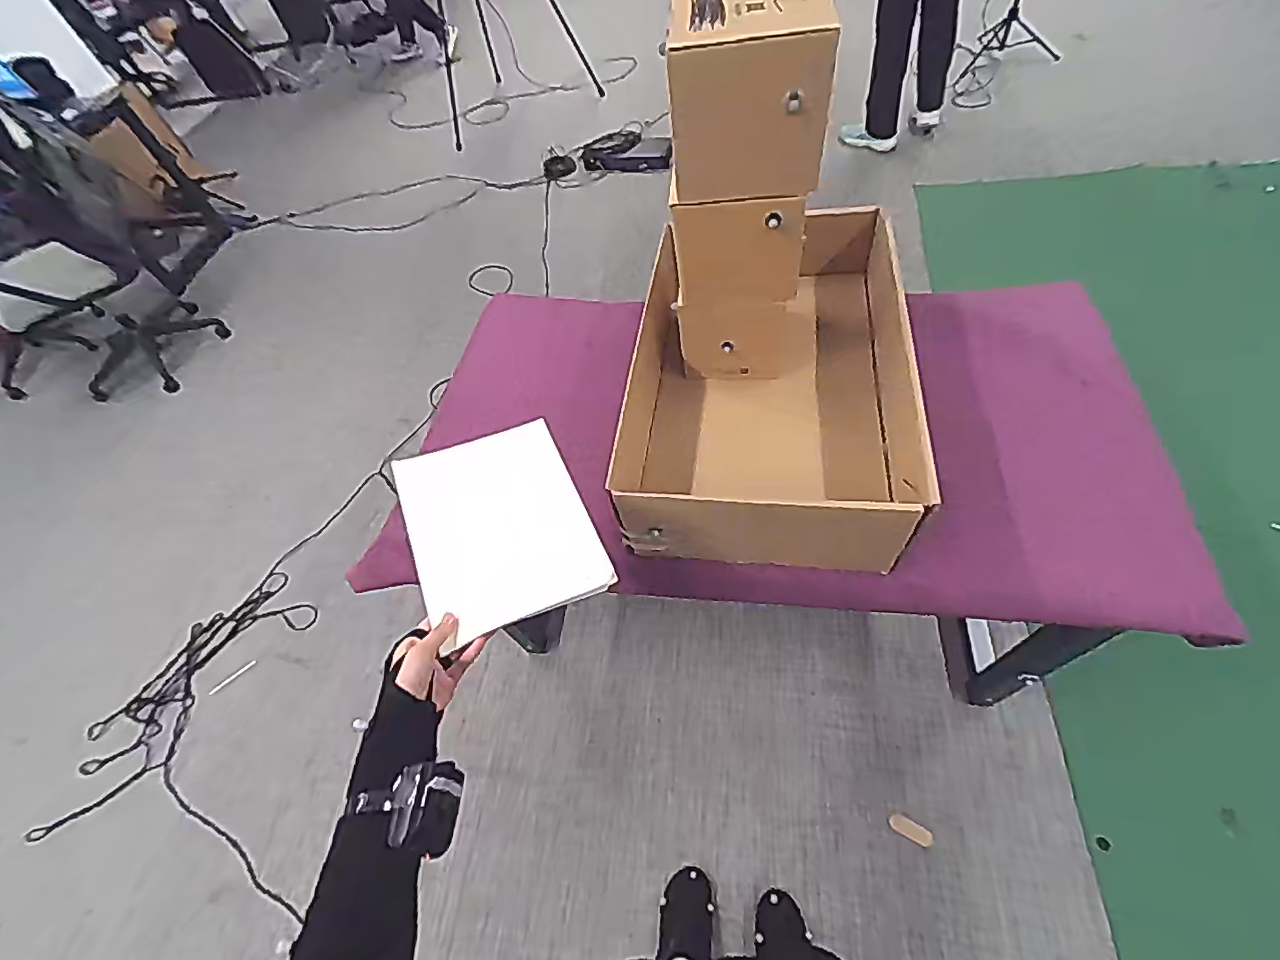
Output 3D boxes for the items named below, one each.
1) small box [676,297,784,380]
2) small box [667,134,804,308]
[{"bbox_3d":[0.161,-0.287,0.931,0.168,0.176,0.179,3,58,12],"label":"small box"},{"bbox_3d":[0.141,-0.372,0.794,0.179,0.176,0.168,1,58,11],"label":"small box"}]
